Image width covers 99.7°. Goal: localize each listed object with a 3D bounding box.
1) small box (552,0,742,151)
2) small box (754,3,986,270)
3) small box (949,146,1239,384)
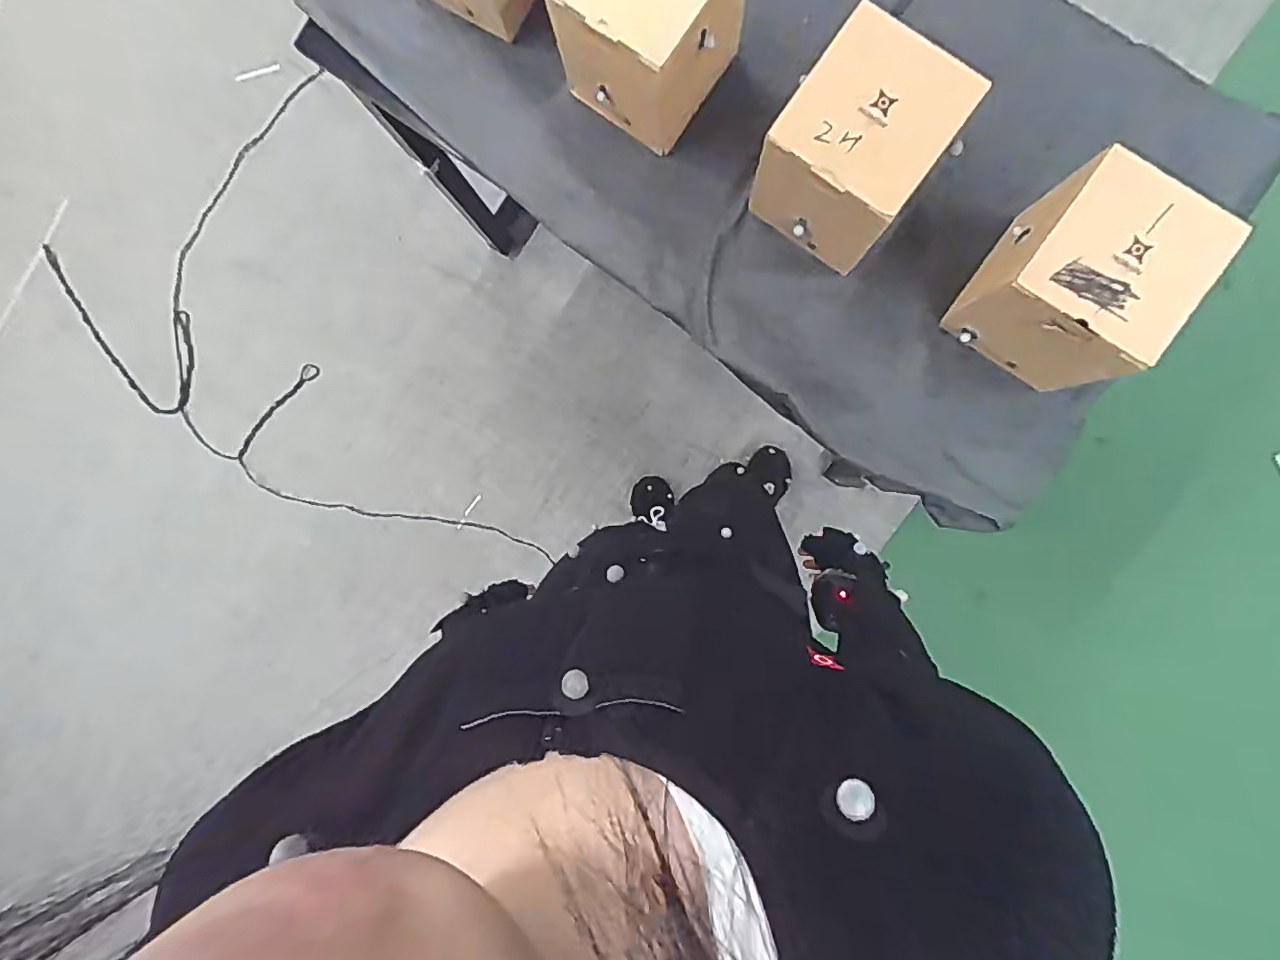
[{"bbox_3d":[0.012,-0.566,0.670,0.168,0.176,0.179,36,94,2],"label":"small box"},{"bbox_3d":[0.257,-0.395,0.657,0.168,0.176,0.179,36,94,2],"label":"small box"},{"bbox_3d":[0.509,-0.235,0.645,0.168,0.176,0.179,35,93,2],"label":"small box"}]
